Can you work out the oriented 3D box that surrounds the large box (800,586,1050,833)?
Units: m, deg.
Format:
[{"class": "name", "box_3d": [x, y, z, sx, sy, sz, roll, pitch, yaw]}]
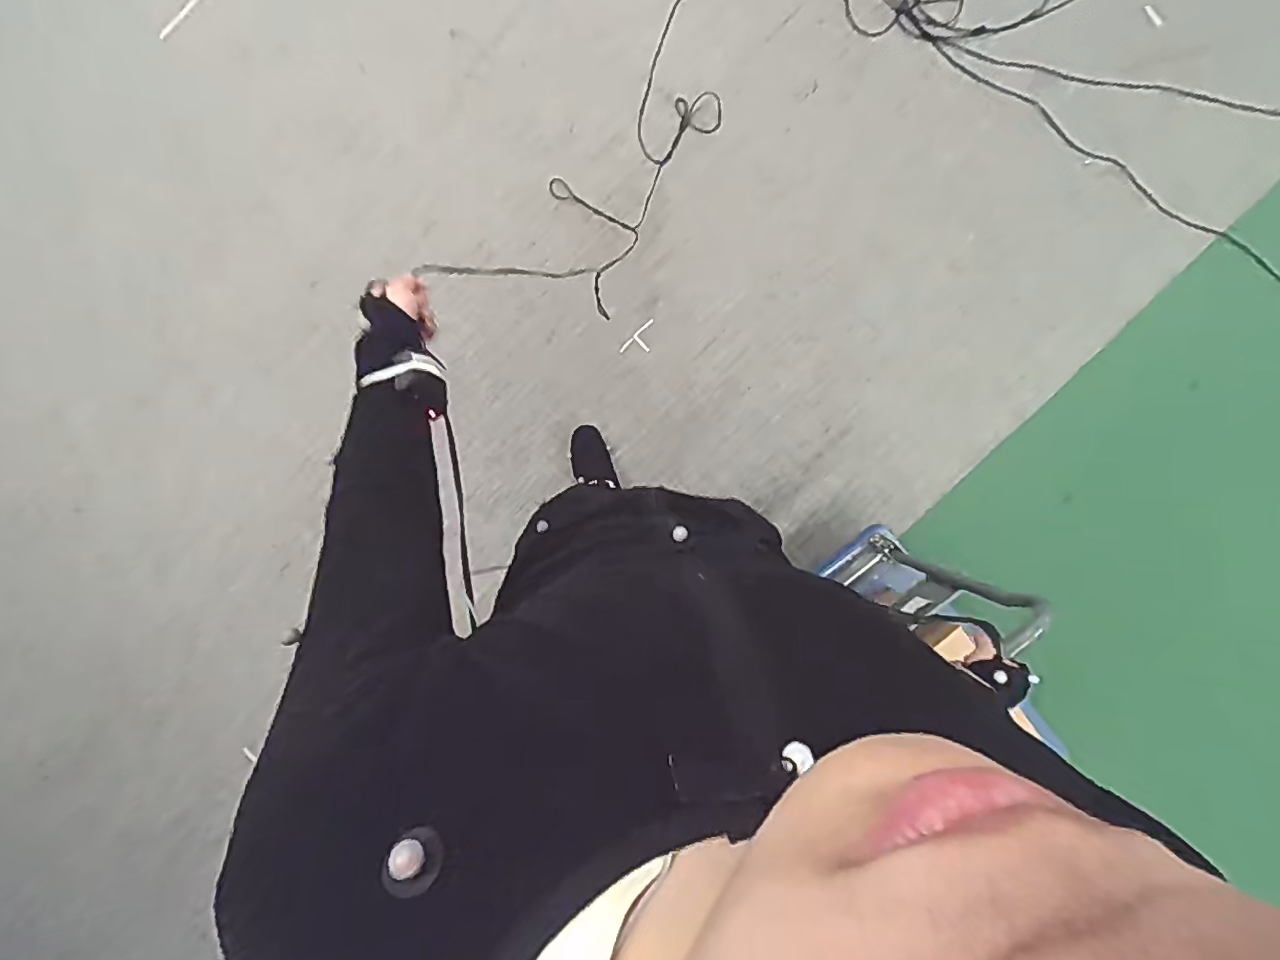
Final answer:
[{"class": "large box", "box_3d": [0.676, 0.540, 1.347, 0.320, 0.320, 0.408, -37, 95, 2]}]
